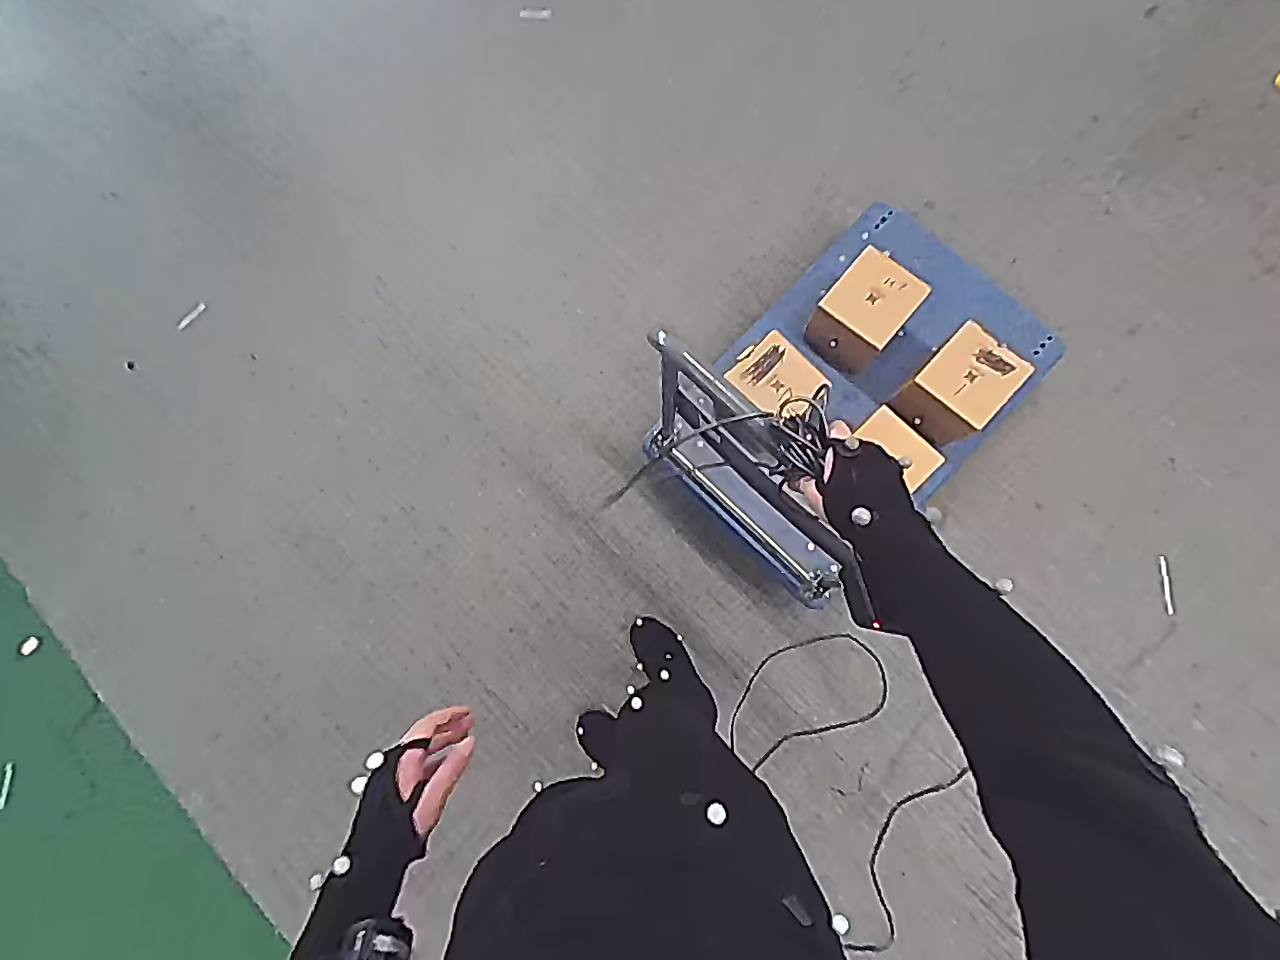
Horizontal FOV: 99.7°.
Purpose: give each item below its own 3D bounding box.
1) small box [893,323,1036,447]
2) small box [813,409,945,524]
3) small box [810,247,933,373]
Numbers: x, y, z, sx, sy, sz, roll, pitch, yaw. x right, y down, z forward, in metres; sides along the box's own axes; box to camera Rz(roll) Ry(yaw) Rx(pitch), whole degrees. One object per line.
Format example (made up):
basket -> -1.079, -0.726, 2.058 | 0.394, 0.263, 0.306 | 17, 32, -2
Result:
small box -> 0.689, -0.198, 1.175 | 0.168, 0.176, 0.179 | 43, 88, 10
small box -> 0.502, -0.022, 1.168 | 0.179, 0.176, 0.168 | -44, 80, -1
small box -> 0.505, -0.371, 1.214 | 0.168, 0.176, 0.179 | 41, 87, 8
